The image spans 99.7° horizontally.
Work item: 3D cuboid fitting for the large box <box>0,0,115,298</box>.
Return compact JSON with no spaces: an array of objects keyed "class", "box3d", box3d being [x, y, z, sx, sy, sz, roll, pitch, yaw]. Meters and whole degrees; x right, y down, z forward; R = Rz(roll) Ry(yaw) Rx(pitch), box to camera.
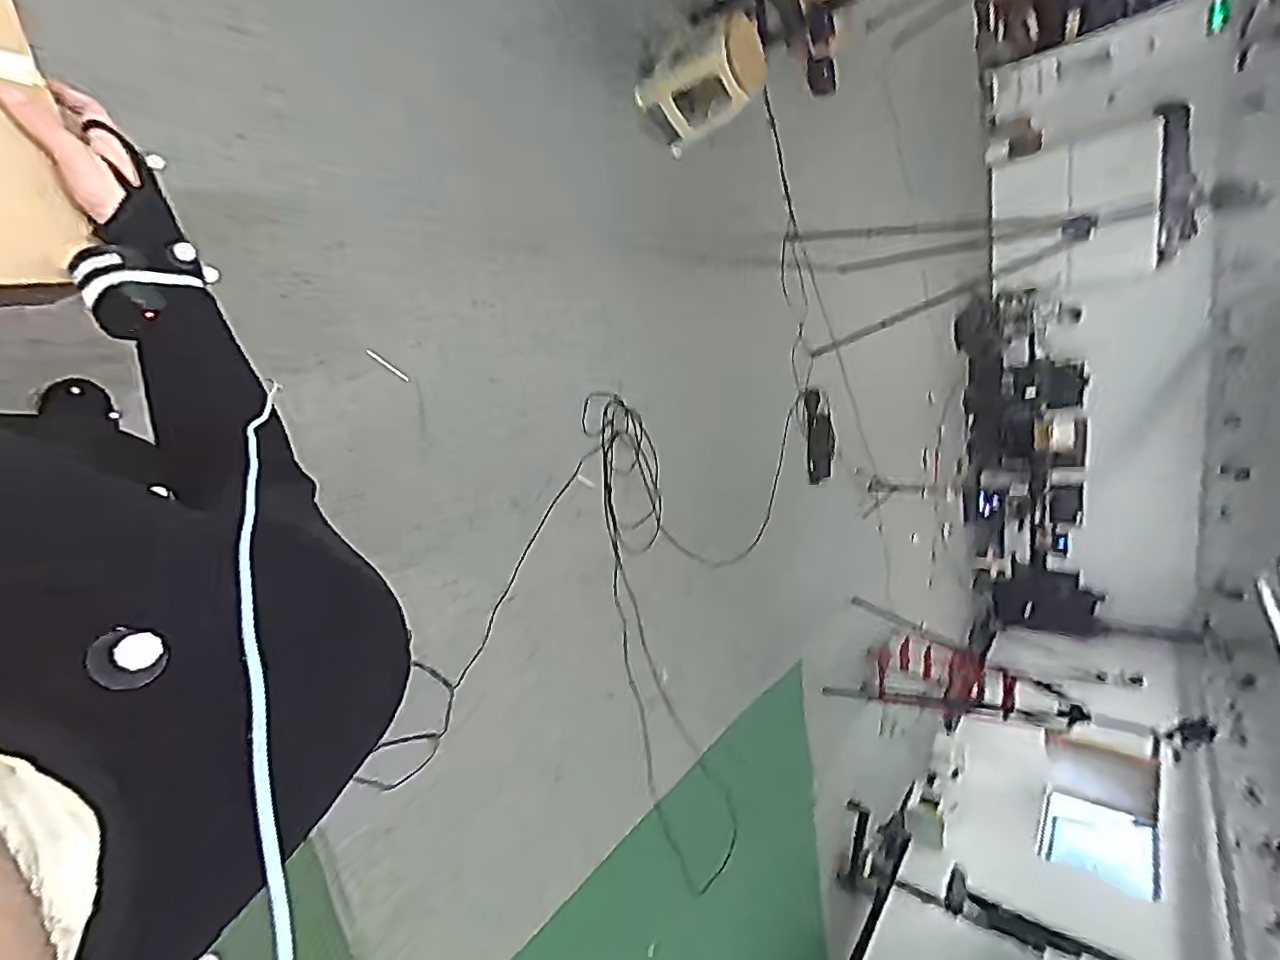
[{"class":"large box","box3d":[-0.723,-0.286,0.377,0.408,0.320,0.320,-29,121,-49]}]
